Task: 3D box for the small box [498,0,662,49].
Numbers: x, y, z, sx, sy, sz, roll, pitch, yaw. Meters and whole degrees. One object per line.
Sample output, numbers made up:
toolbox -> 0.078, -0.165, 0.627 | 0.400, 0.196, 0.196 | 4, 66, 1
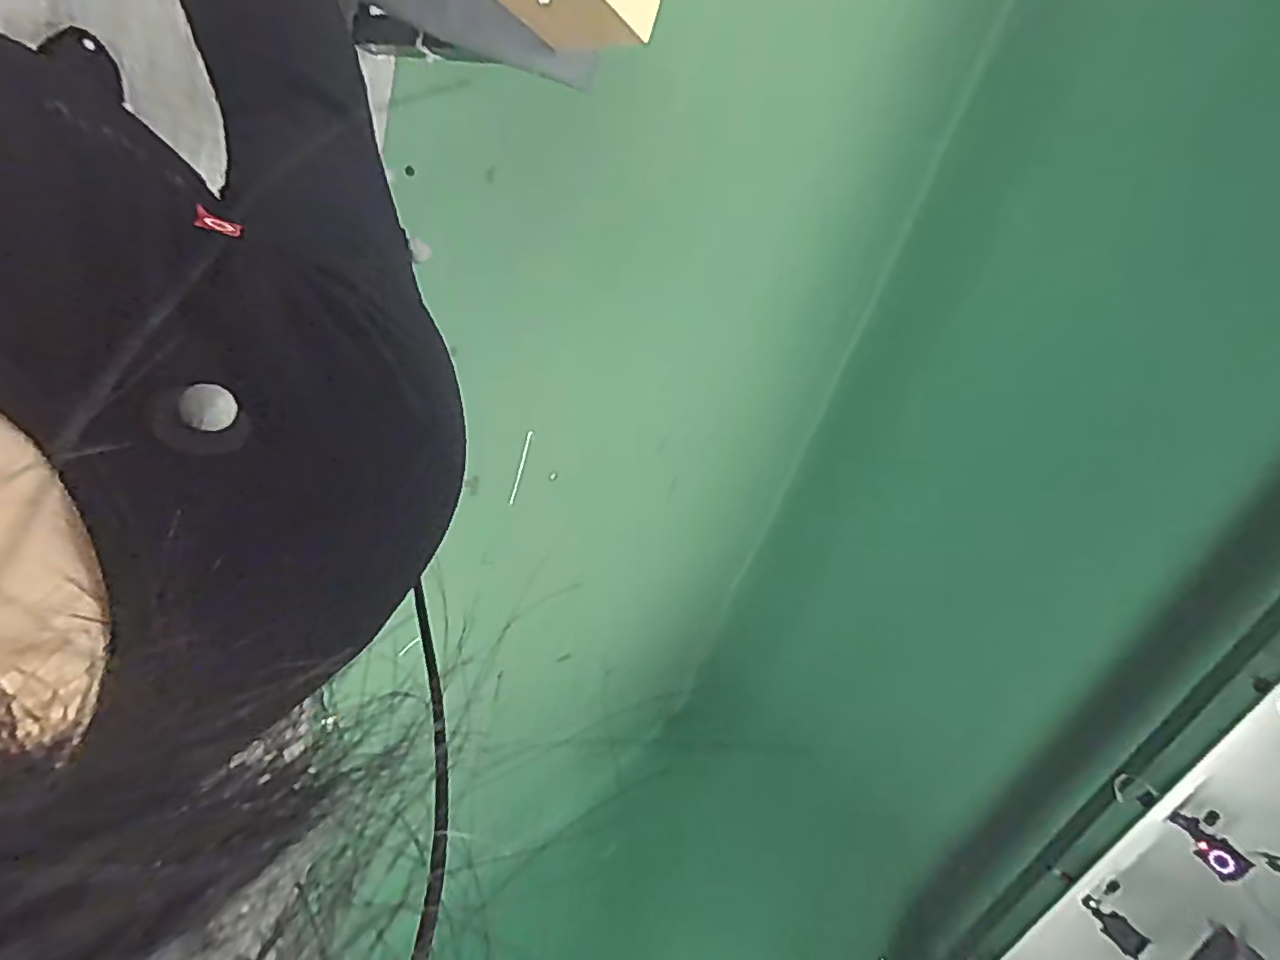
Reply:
small box -> -0.077, -0.609, 0.590 | 0.179, 0.176, 0.168 | 2, 113, -50
